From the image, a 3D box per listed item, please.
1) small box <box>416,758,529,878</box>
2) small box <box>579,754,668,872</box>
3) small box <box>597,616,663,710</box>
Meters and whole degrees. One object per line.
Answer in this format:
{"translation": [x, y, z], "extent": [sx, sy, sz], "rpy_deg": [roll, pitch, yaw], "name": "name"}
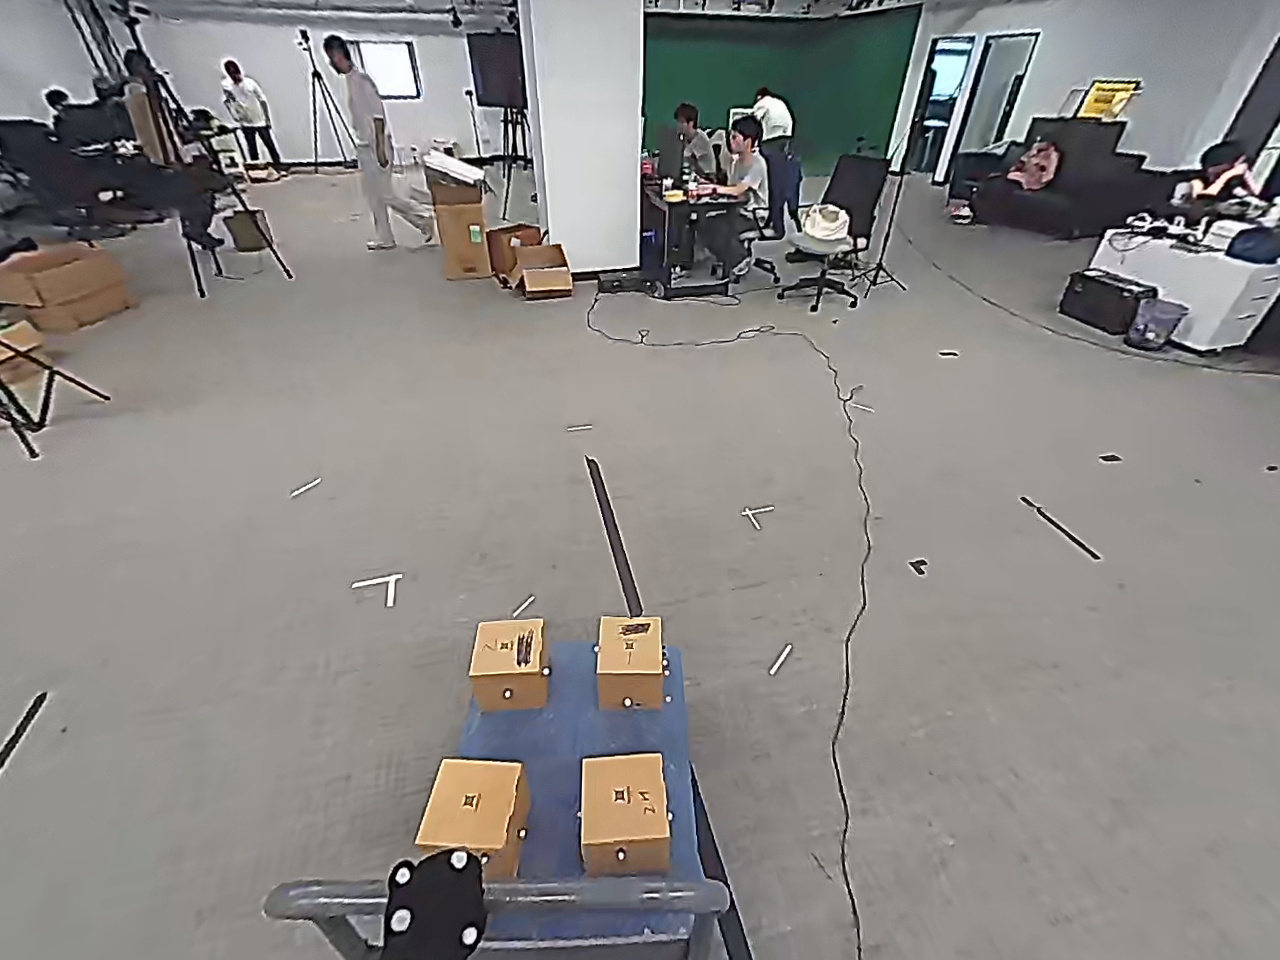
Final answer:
{"translation": [-0.343, 0.716, 1.146], "extent": [0.179, 0.176, 0.168], "rpy_deg": [3, 36, 1], "name": "small box"}
{"translation": [-0.033, 0.711, 1.153], "extent": [0.179, 0.176, 0.168], "rpy_deg": [-2, 37, -3], "name": "small box"}
{"translation": [-0.024, 0.489, 1.451], "extent": [0.168, 0.176, 0.179], "rpy_deg": [0, 38, 1], "name": "small box"}
